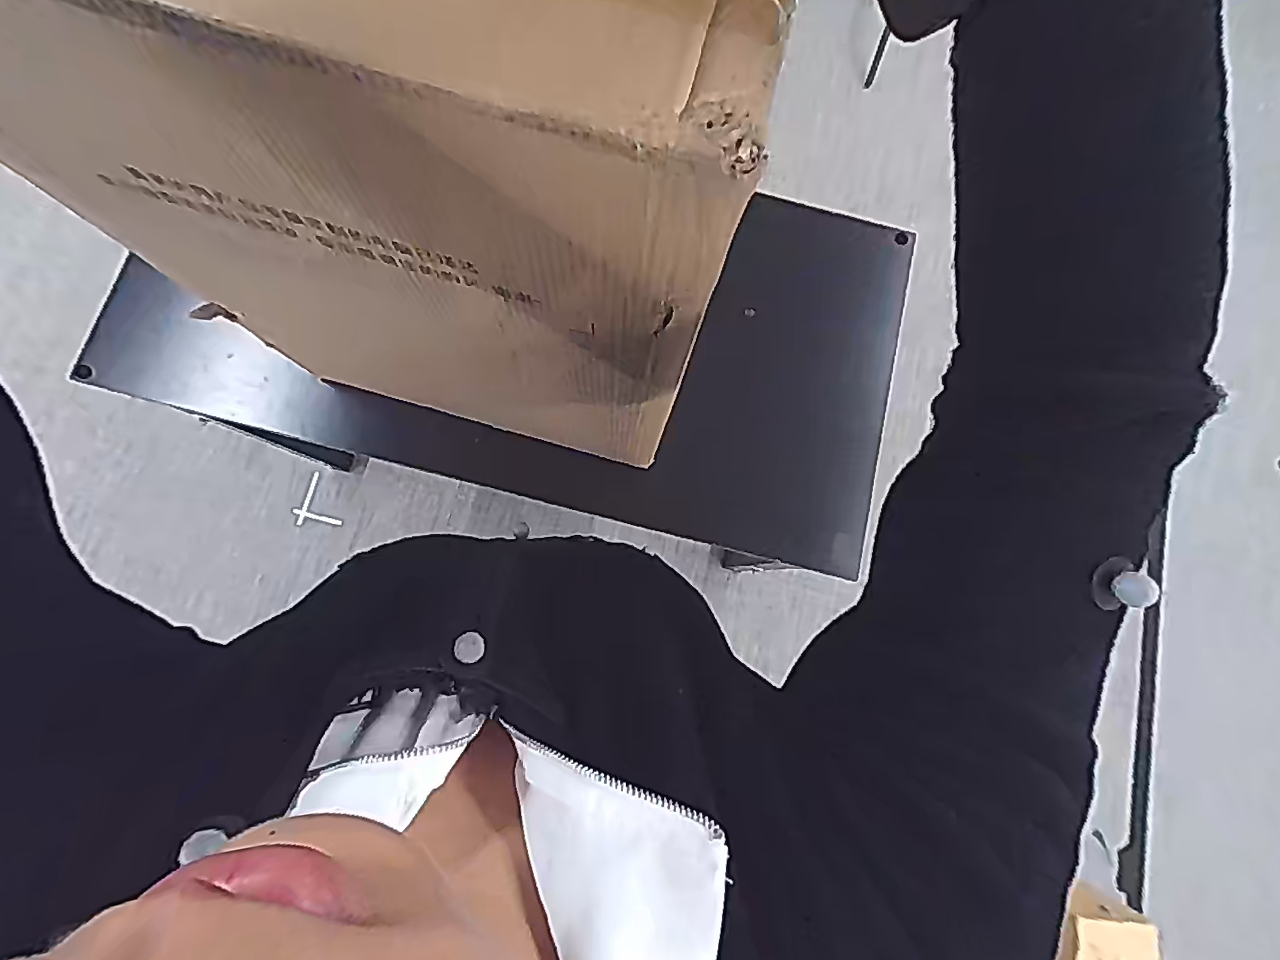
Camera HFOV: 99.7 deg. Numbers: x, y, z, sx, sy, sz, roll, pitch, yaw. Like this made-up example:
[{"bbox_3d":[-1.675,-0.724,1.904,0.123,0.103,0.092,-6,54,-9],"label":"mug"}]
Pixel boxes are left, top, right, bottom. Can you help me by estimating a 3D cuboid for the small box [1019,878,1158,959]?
[{"bbox_3d":[0.975,1.008,1.183,0.179,0.176,0.168,7,78,-2],"label":"small box"}]
